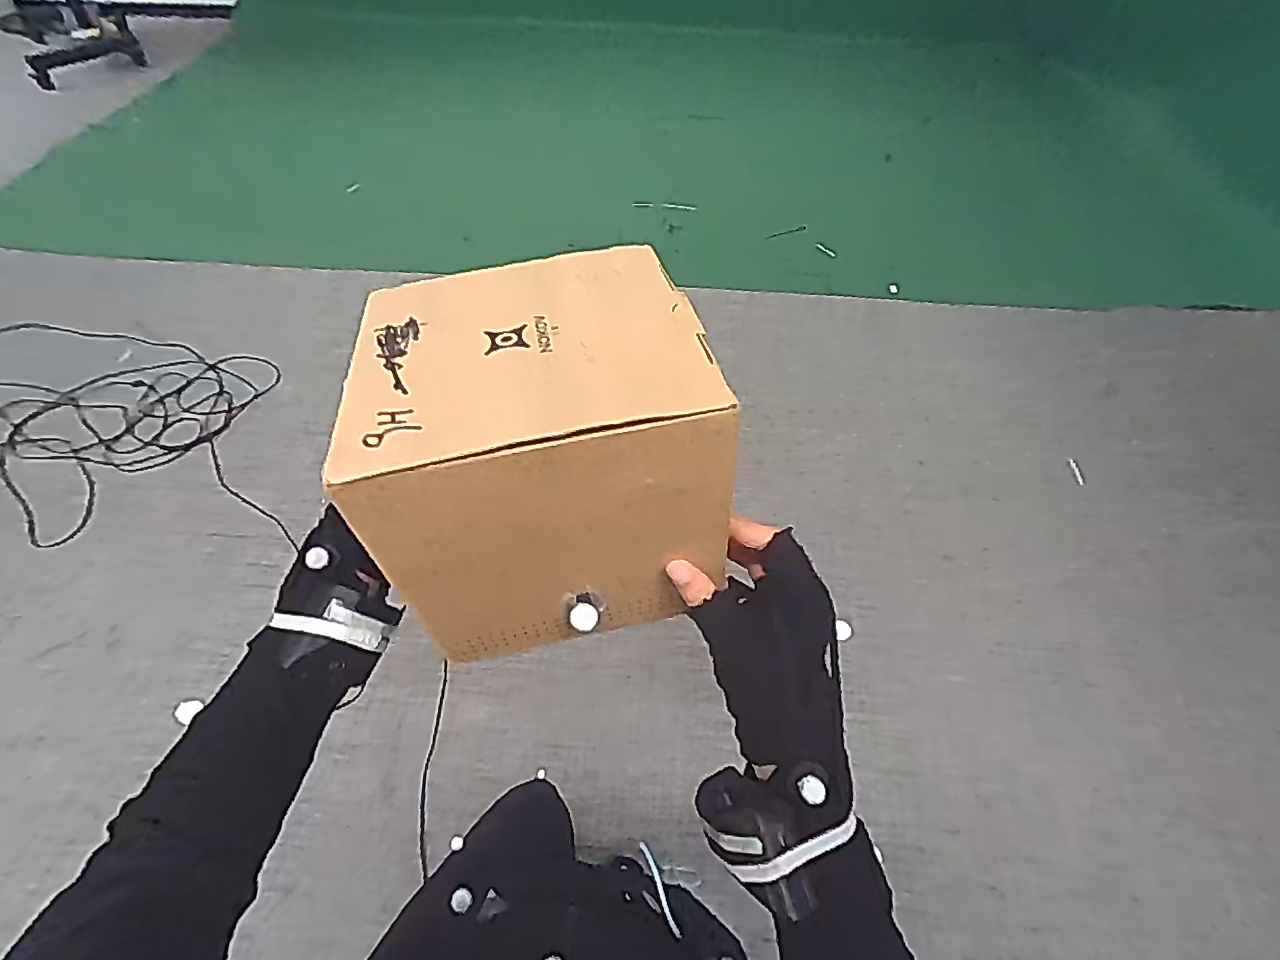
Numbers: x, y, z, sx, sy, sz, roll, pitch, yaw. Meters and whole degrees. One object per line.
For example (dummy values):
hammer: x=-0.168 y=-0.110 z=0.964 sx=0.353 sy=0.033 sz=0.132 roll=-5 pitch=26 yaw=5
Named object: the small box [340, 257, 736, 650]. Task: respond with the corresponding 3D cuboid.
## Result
small box: x=-0.053 y=-0.016 z=0.345 sx=0.179 sy=0.176 sz=0.168 roll=-11 pitch=46 yaw=-6
